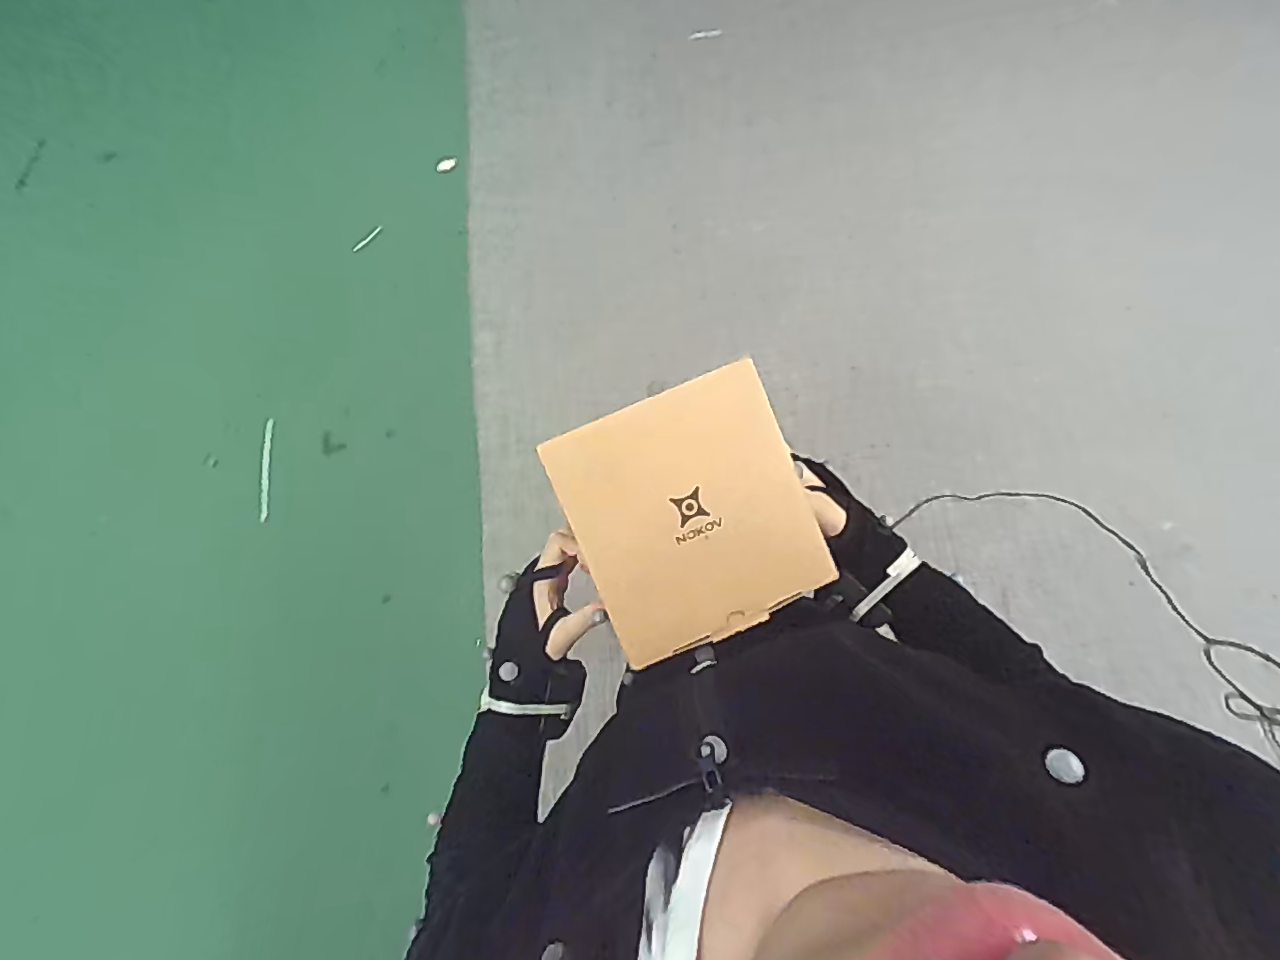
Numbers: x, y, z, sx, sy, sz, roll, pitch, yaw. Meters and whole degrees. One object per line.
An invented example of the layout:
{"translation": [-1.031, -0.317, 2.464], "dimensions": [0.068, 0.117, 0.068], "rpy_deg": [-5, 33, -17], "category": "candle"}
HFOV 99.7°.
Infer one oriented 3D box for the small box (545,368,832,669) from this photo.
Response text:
{"translation": [0.029, 0.025, 0.467], "dimensions": [0.168, 0.176, 0.179], "rpy_deg": [-22, 95, -4], "category": "small box"}
